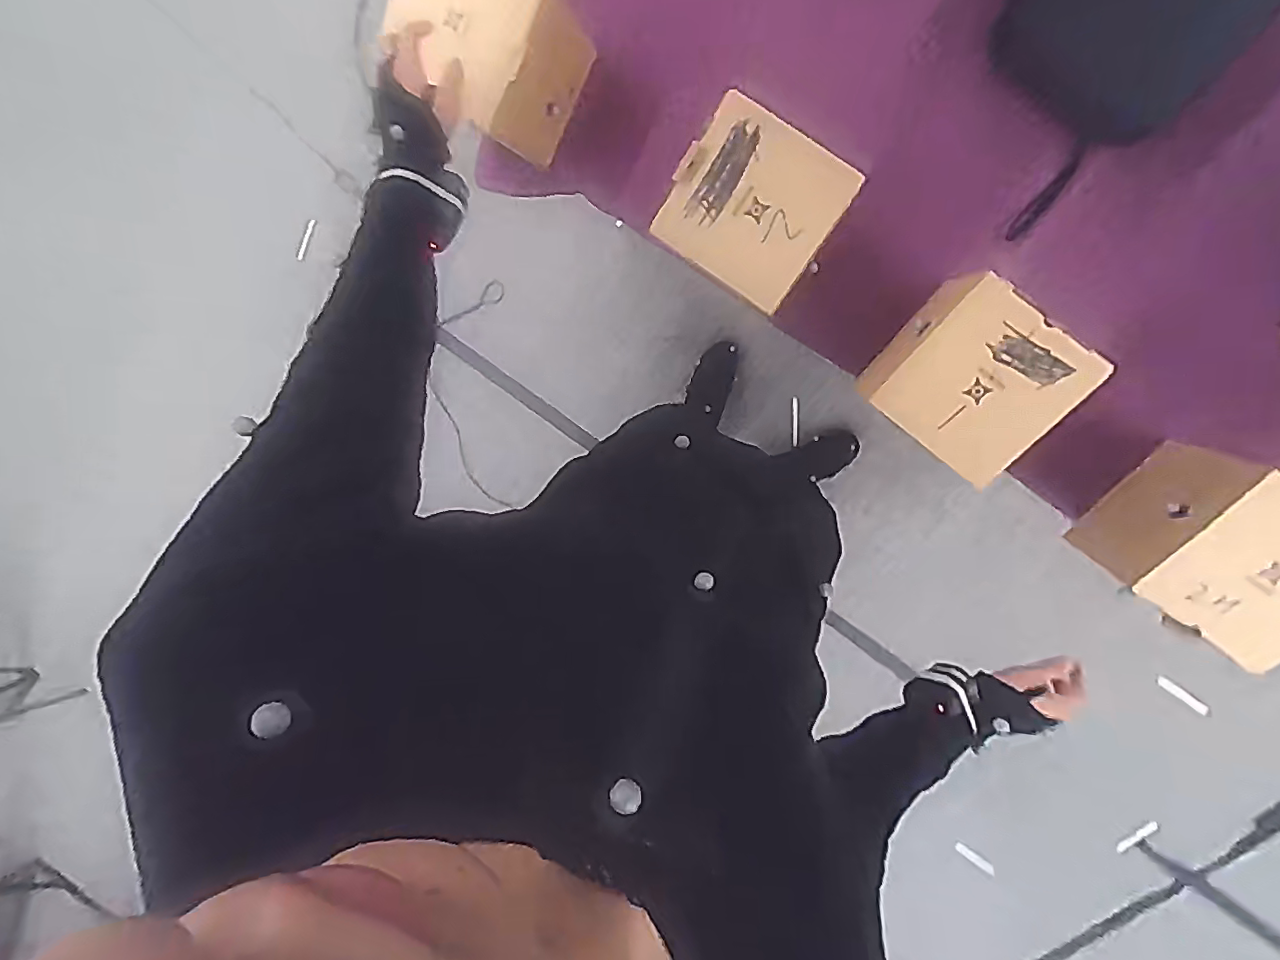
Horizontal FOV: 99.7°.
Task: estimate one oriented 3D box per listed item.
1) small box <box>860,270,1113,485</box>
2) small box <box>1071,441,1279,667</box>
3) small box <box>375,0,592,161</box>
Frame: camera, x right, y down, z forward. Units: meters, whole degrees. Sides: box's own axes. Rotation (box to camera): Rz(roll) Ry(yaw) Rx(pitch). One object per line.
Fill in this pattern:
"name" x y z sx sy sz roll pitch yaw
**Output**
"small box" 0.395 -0.127 0.661 0.168 0.176 0.179 39 112 2
"small box" 0.680 0.074 0.645 0.168 0.176 0.179 36 111 4
"small box" -0.189 -0.544 0.692 0.179 0.176 0.168 32 111 2
